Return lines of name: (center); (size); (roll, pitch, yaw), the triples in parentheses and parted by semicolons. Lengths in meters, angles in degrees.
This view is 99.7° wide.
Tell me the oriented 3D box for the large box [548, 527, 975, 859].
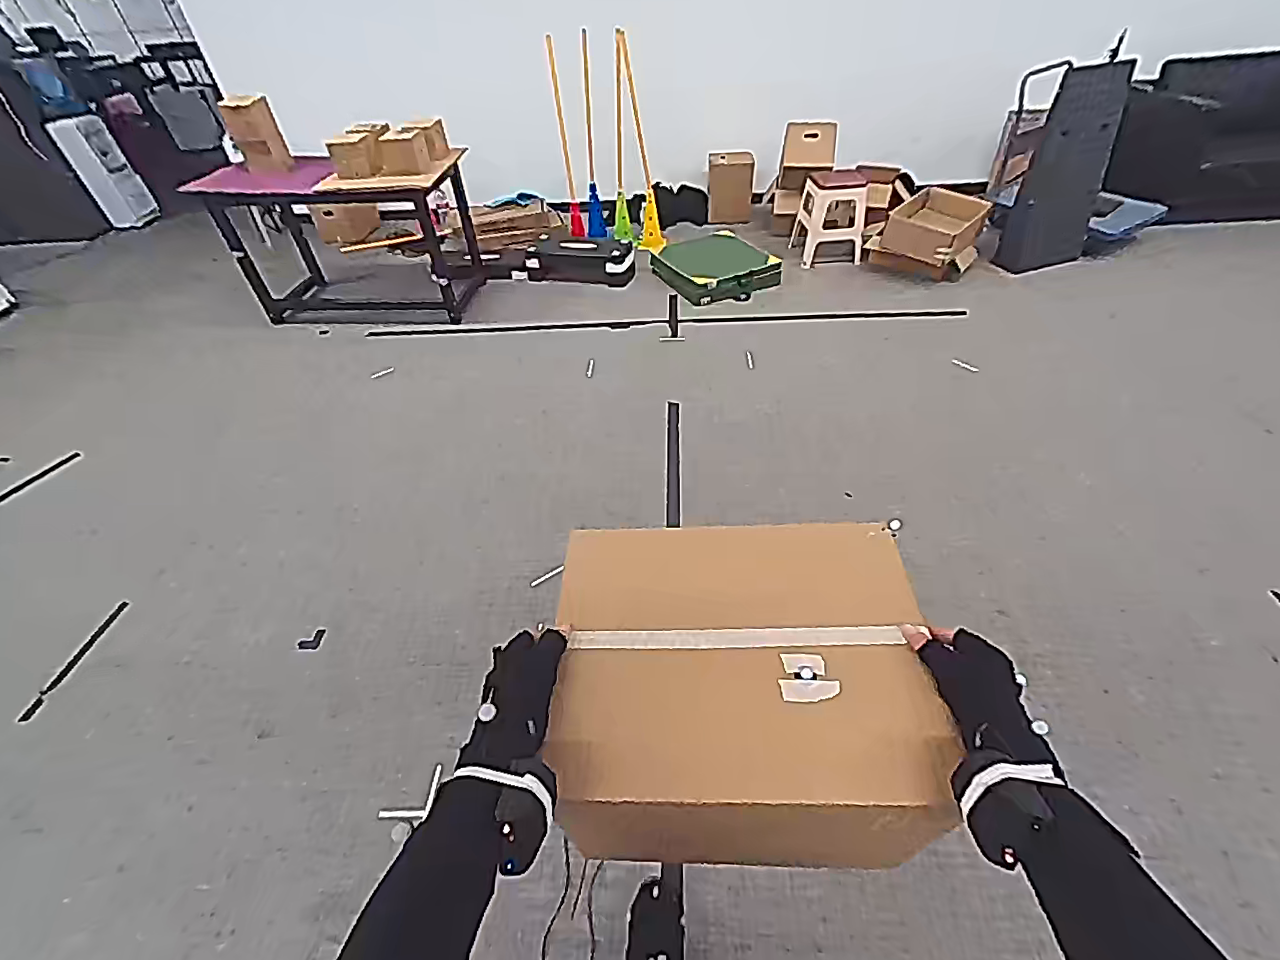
large box: (0.120, 0.282, 0.709); (0.408, 0.320, 0.320); (-2, 47, 4)
